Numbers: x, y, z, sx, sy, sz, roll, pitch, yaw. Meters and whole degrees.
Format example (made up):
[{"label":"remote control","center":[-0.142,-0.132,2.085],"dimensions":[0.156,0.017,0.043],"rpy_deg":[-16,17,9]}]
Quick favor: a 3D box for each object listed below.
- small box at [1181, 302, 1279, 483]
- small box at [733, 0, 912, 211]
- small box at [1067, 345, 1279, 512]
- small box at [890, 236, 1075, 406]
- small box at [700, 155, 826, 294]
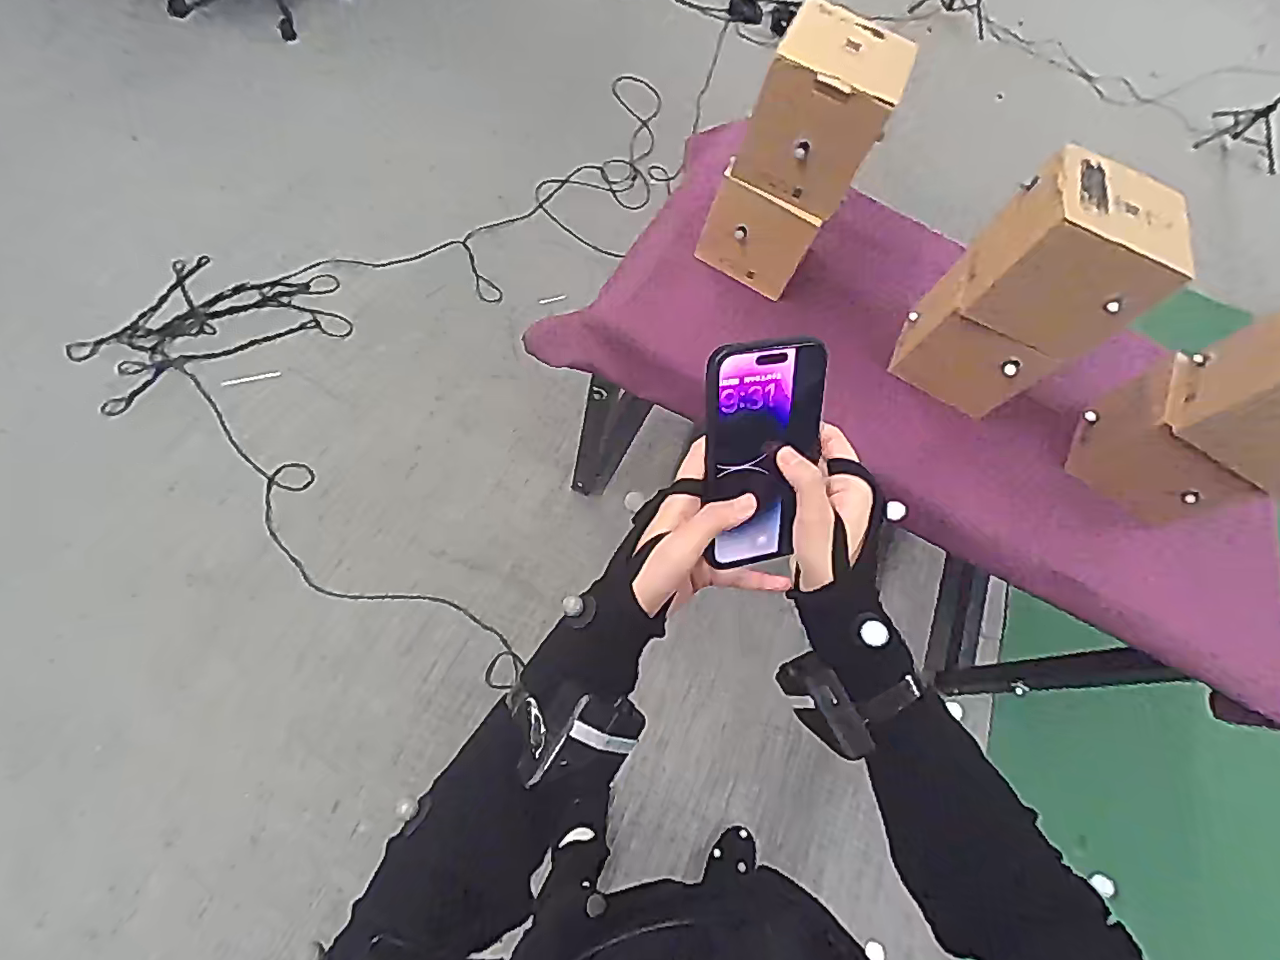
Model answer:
[{"label":"small box","center":[0.866,-0.120,0.699],"dimensions":[0.179,0.176,0.168],"rpy_deg":[35,64,5]},{"label":"small box","center":[0.247,-0.524,0.765],"dimensions":[0.168,0.176,0.179],"rpy_deg":[25,64,1]},{"label":"small box","center":[0.837,-0.069,0.853],"dimensions":[0.179,0.176,0.168],"rpy_deg":[35,64,6]},{"label":"small box","center":[0.547,-0.246,0.877],"dimensions":[0.179,0.176,0.168],"rpy_deg":[29,64,3]},{"label":"small box","center":[0.215,-0.450,0.909],"dimensions":[0.168,0.176,0.179],"rpy_deg":[30,64,3]}]
